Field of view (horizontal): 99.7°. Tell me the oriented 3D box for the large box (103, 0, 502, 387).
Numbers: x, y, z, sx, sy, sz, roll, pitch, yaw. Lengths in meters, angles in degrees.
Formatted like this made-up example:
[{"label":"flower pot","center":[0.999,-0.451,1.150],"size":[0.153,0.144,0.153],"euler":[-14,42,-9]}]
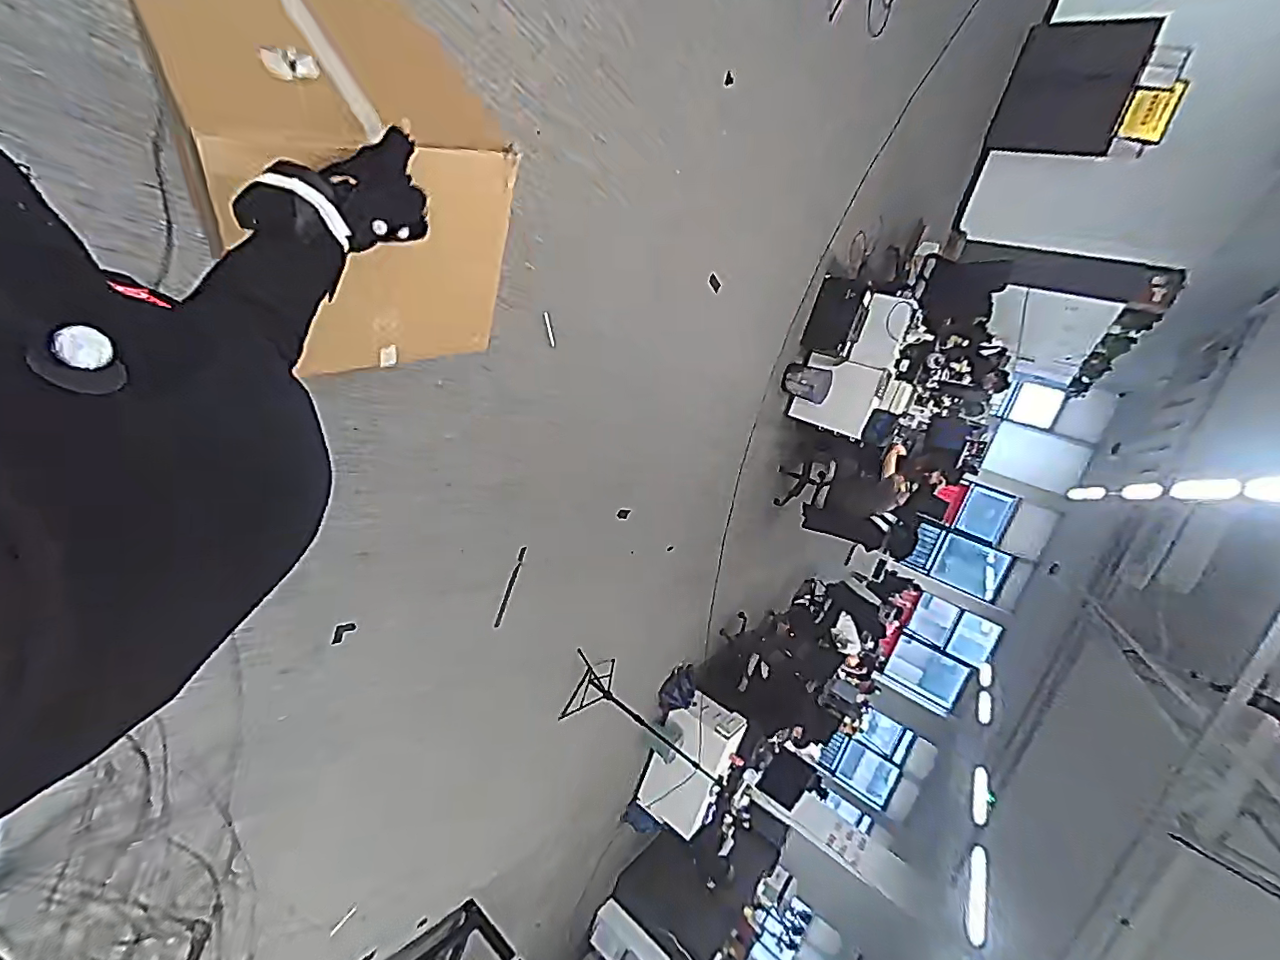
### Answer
[{"label":"large box","center":[-0.442,-0.396,0.741],"size":[0.320,0.408,0.320],"euler":[-21,157,-34]}]
